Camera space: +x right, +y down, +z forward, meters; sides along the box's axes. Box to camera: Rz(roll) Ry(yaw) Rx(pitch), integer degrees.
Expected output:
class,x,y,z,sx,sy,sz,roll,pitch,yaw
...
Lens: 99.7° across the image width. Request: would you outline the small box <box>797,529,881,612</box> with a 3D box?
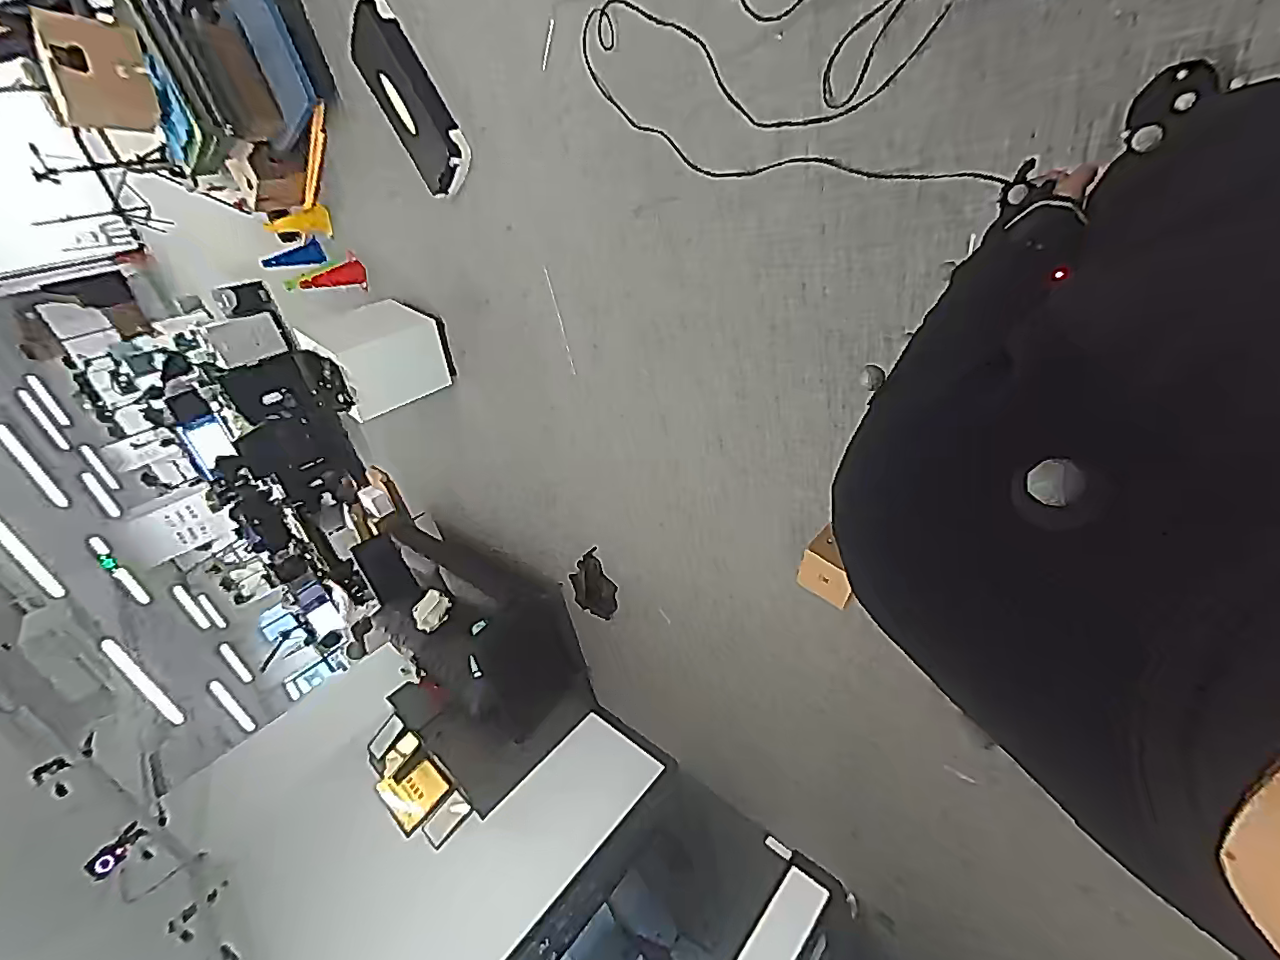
class,x,y,z,sx,sy,sz,roll,pitch,yaw
small box,0.641,0.283,1.743,0.179,0.176,0.168,31,139,30
